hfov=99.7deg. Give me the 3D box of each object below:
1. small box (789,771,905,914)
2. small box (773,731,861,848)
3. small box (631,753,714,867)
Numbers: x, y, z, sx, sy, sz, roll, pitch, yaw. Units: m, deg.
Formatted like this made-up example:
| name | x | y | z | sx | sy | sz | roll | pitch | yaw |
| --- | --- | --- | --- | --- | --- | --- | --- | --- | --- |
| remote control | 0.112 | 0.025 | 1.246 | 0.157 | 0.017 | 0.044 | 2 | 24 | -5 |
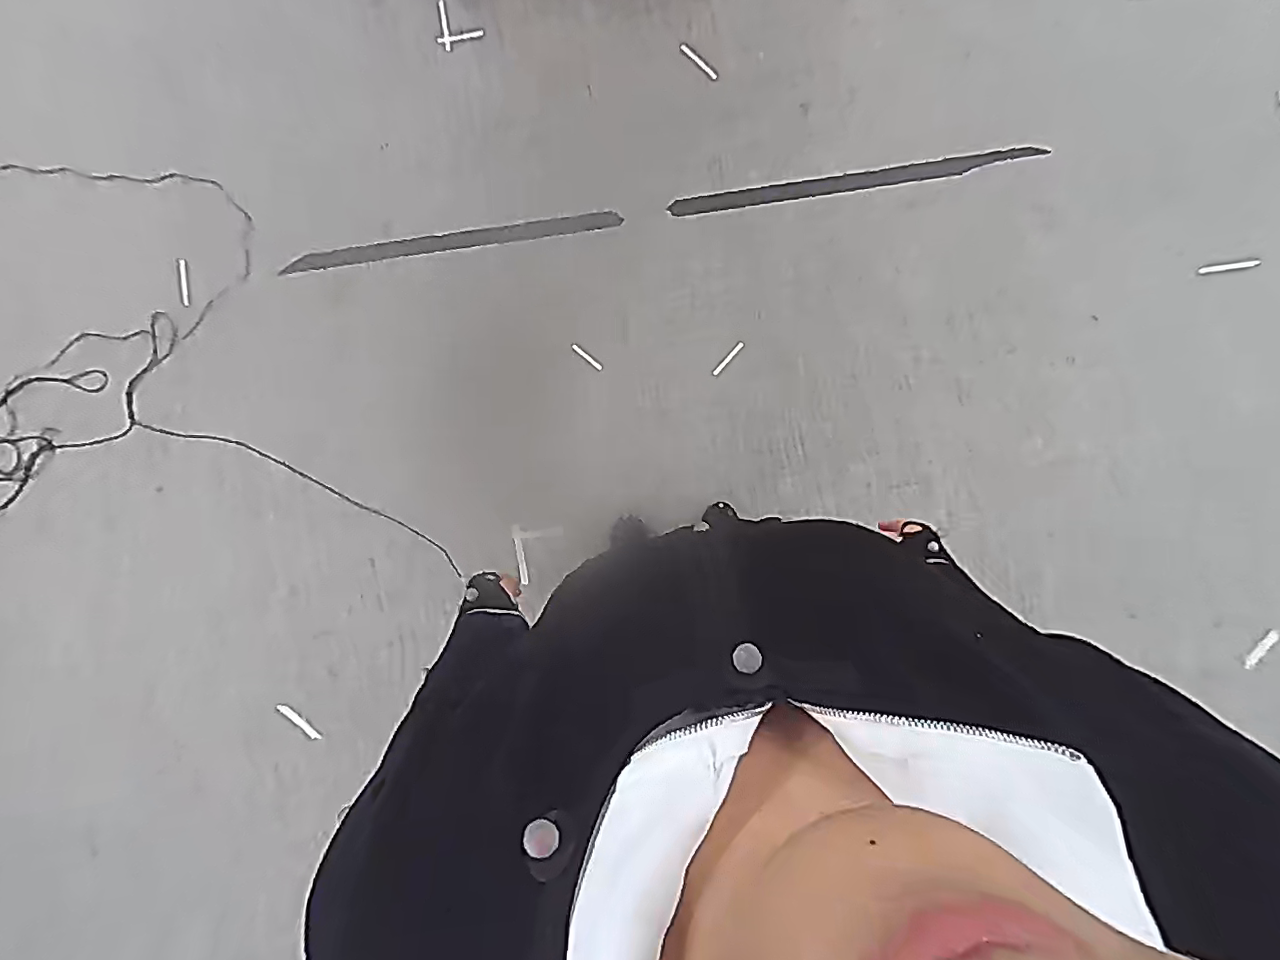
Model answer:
| name | x | y | z | sx | sy | sz | roll | pitch | yaw |
| --- | --- | --- | --- | --- | --- | --- | --- | --- | --- |
| small box | 0.416 | 0.736 | 1.113 | 0.168 | 0.176 | 0.179 | -10 | 88 | 3 |
| small box | 0.421 | 0.725 | 1.277 | 0.168 | 0.176 | 0.179 | -9 | 88 | 3 |
| small box | 0.076 | 0.777 | 1.295 | 0.168 | 0.176 | 0.179 | -11 | 87 | 4 |
